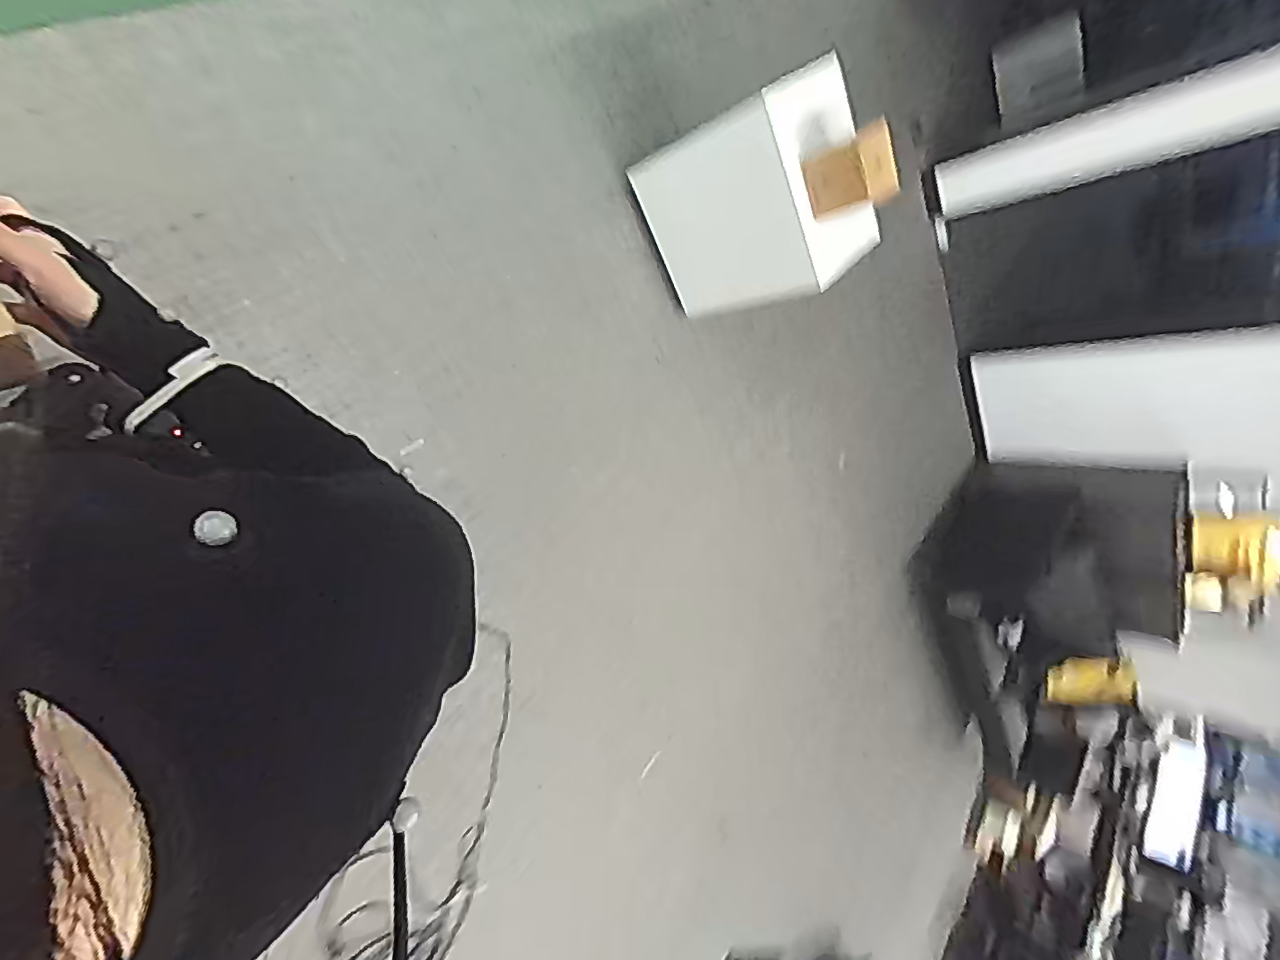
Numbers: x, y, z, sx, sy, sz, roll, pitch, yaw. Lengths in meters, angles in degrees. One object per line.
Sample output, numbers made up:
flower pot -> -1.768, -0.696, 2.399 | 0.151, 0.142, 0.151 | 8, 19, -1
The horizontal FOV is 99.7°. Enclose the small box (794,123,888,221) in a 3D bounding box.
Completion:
small box -> 0.549, -0.837, 1.480 | 0.179, 0.176, 0.168 | -42, 119, -30
